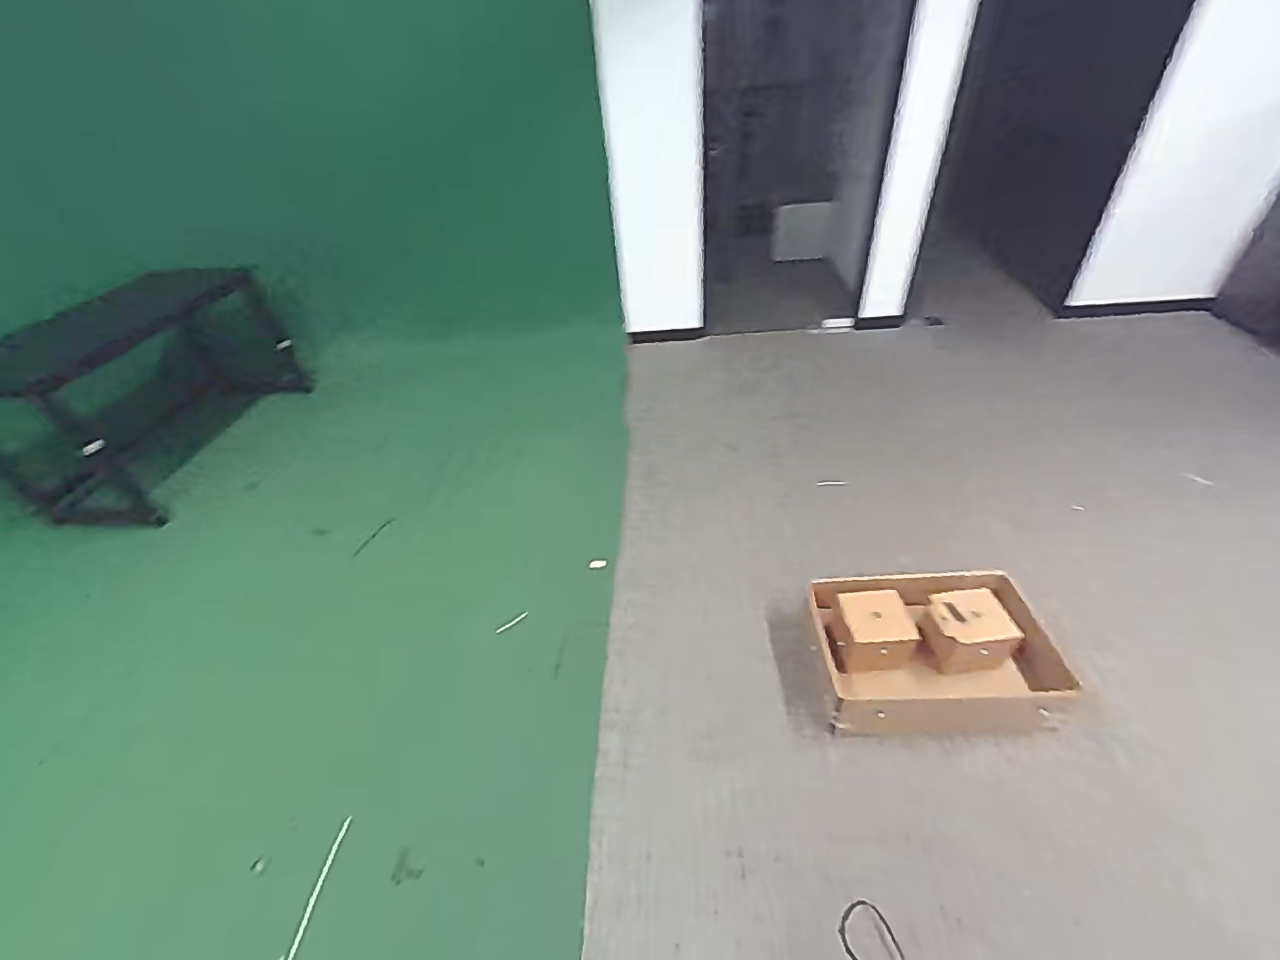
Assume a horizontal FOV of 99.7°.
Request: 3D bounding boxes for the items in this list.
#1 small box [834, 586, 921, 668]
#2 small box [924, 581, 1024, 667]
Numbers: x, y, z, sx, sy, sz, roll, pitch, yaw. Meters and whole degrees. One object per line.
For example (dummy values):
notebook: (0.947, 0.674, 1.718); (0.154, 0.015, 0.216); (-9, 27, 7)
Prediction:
small box: (0.680, 0.431, 1.578); (0.179, 0.176, 0.168); (-5, 42, 0)
small box: (0.945, 0.419, 1.555); (0.179, 0.176, 0.168); (-8, 41, -1)
